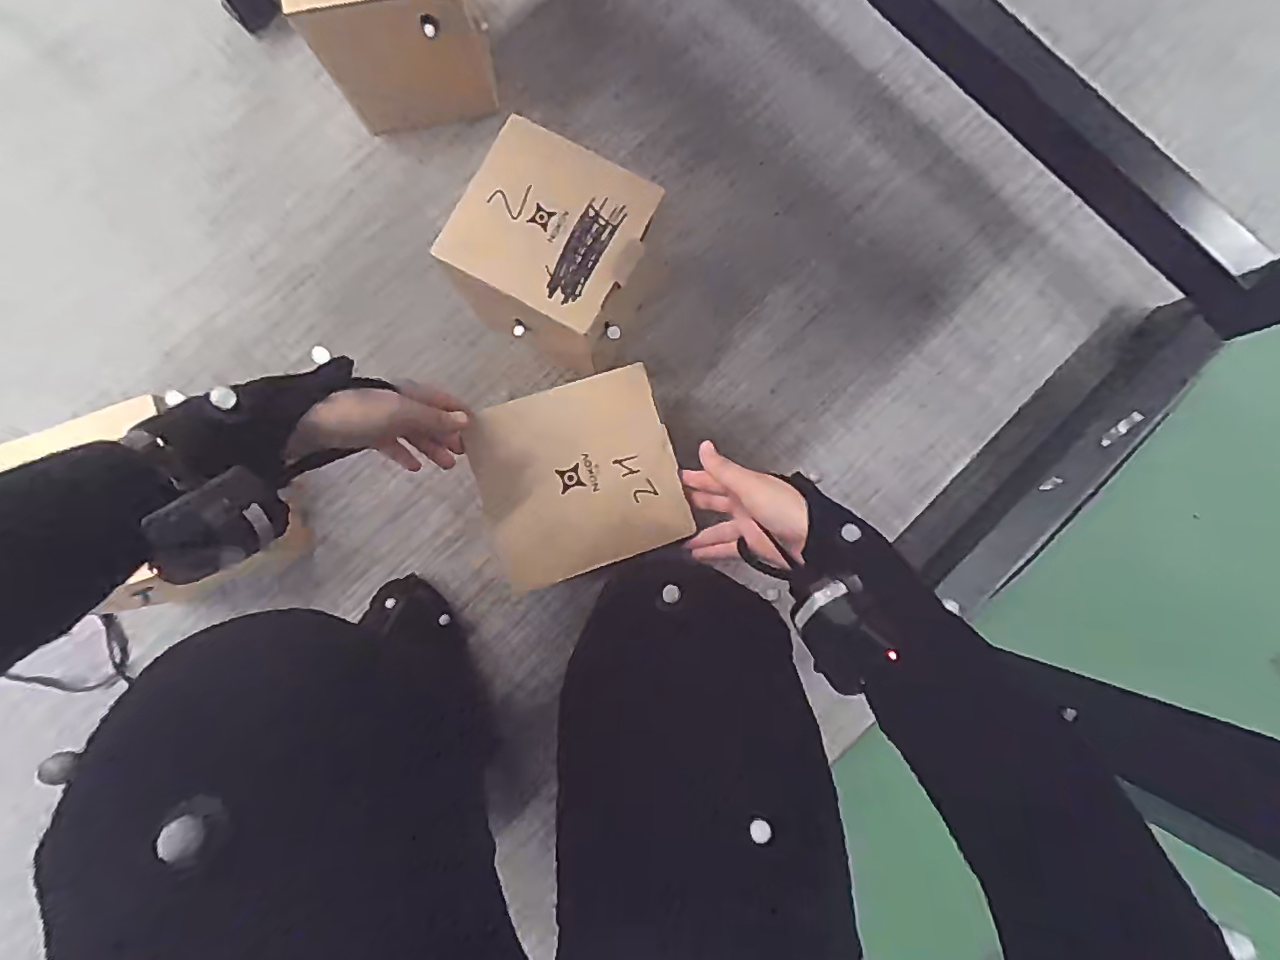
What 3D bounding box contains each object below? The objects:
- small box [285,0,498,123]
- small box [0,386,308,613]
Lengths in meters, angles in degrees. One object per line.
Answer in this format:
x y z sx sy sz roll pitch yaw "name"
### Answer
-0.281 -0.552 0.625 0.179 0.176 0.168 -11 85 -2 "small box"
-0.500 0.025 0.569 0.179 0.176 0.168 -20 85 -2 "small box"
